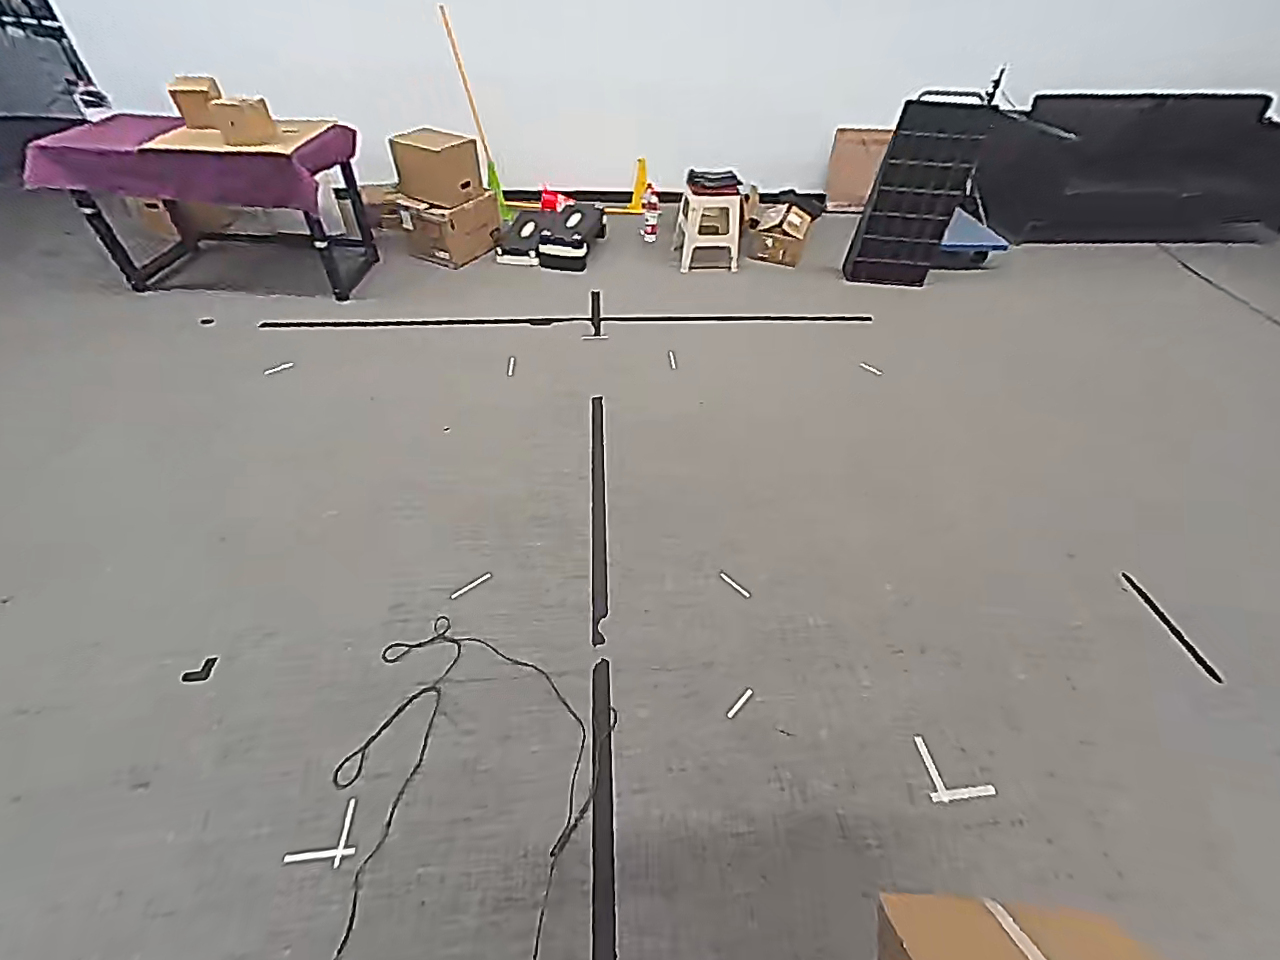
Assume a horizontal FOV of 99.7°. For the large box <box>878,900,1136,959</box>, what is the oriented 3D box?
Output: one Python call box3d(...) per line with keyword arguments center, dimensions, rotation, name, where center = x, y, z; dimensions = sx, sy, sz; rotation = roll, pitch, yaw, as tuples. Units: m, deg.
box3d(center=(0.475, 0.750, 0.566), dimensions=(0.320, 0.408, 0.320), rotation=(2, 85, 4), name="large box")
